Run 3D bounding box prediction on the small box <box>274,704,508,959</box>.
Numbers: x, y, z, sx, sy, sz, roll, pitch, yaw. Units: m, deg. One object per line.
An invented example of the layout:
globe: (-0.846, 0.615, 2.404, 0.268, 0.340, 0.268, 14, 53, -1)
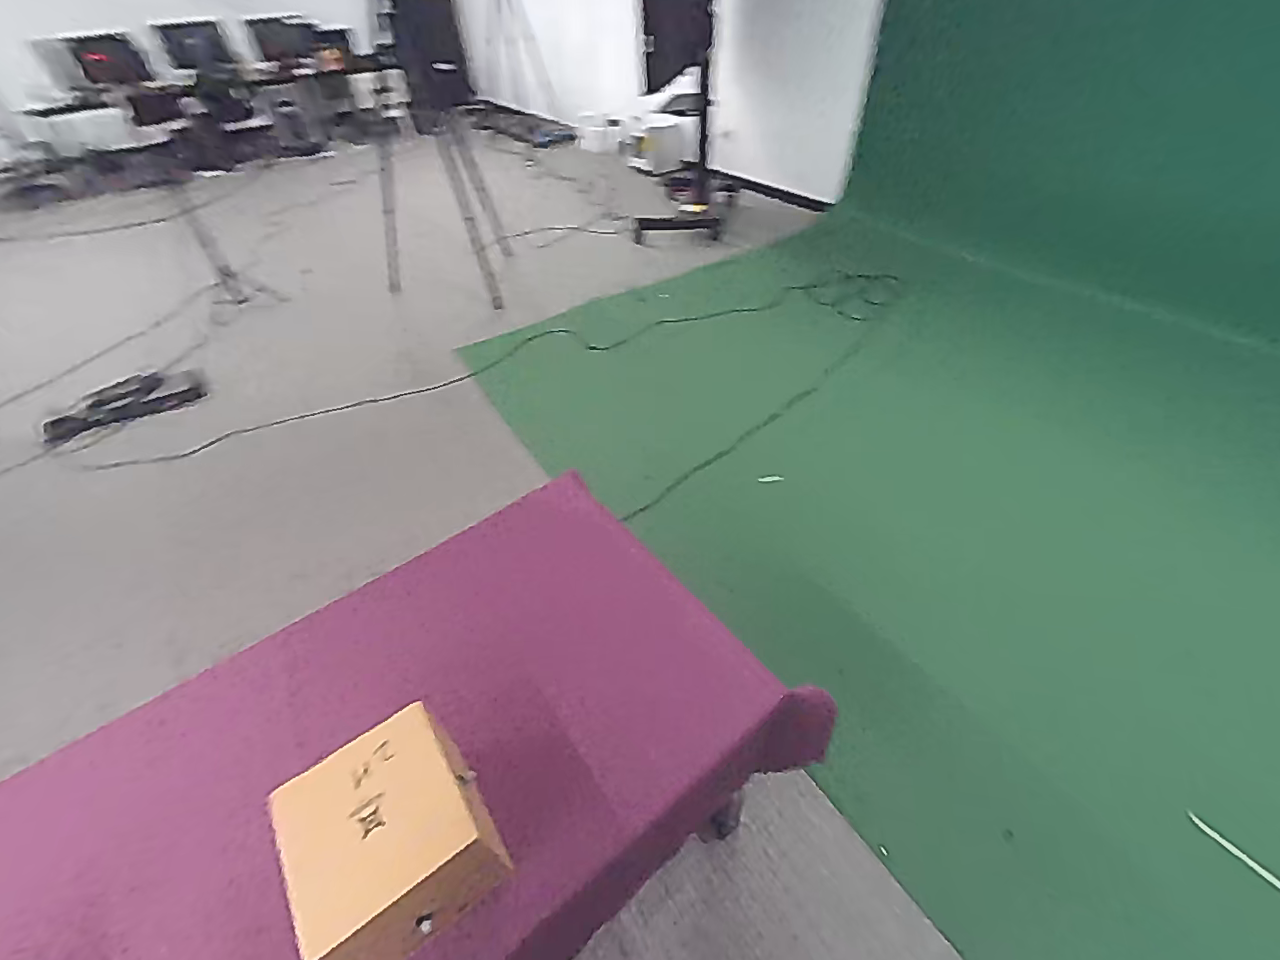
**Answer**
small box: (-0.269, 0.400, 0.608, 0.168, 0.176, 0.179, -28, 48, -23)
